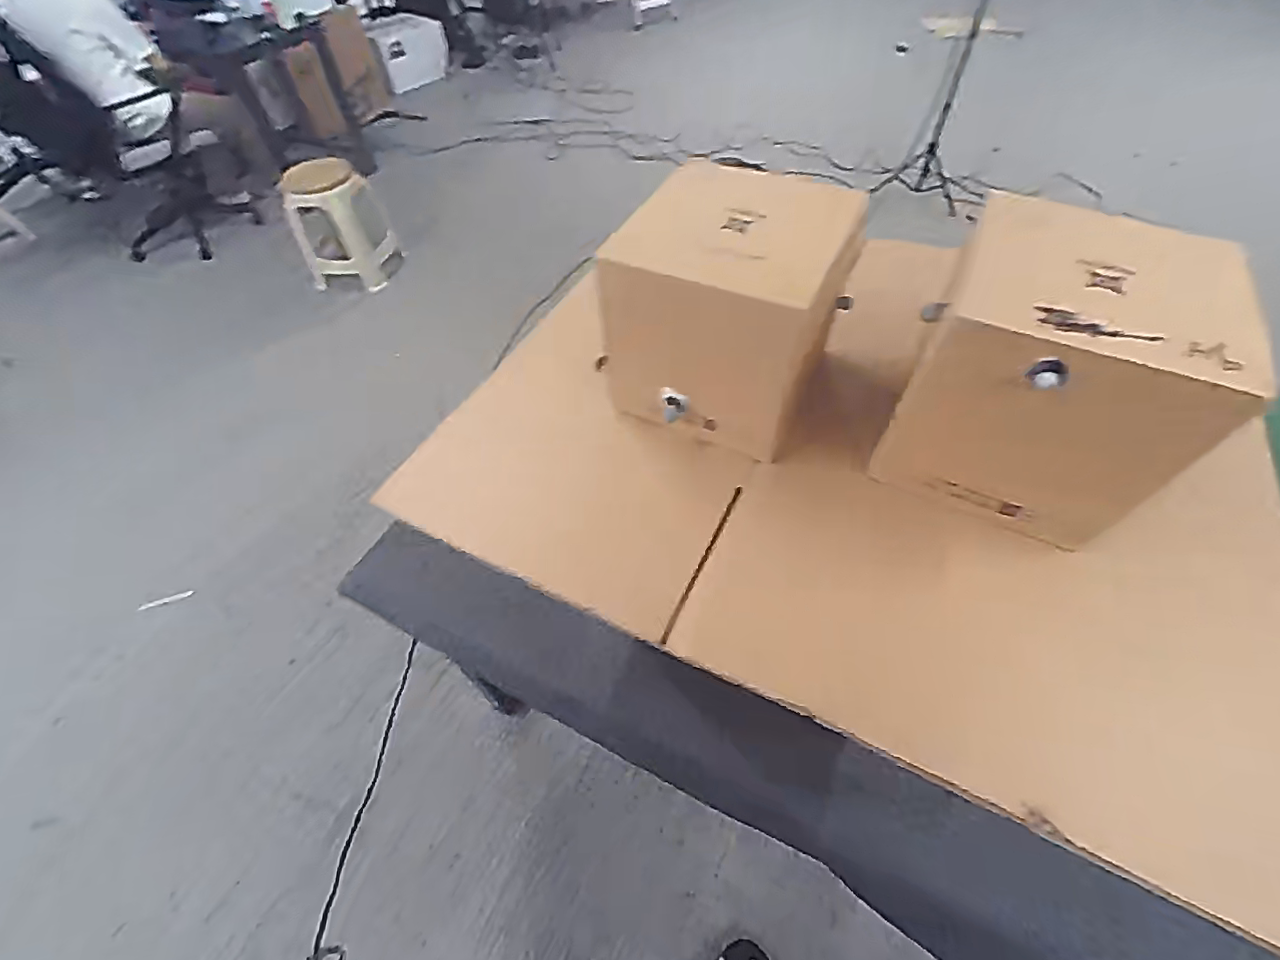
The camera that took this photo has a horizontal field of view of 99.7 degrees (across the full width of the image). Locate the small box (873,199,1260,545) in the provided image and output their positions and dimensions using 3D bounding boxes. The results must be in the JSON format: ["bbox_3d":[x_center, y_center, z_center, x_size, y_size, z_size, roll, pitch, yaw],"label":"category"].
[{"bbox_3d":[0.305,-0.083,0.424,0.168,0.176,0.179,23,57,18],"label":"small box"}]

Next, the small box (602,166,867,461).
[{"bbox_3d":[0.083,-0.151,0.495,0.168,0.176,0.179,21,59,19],"label":"small box"}]
